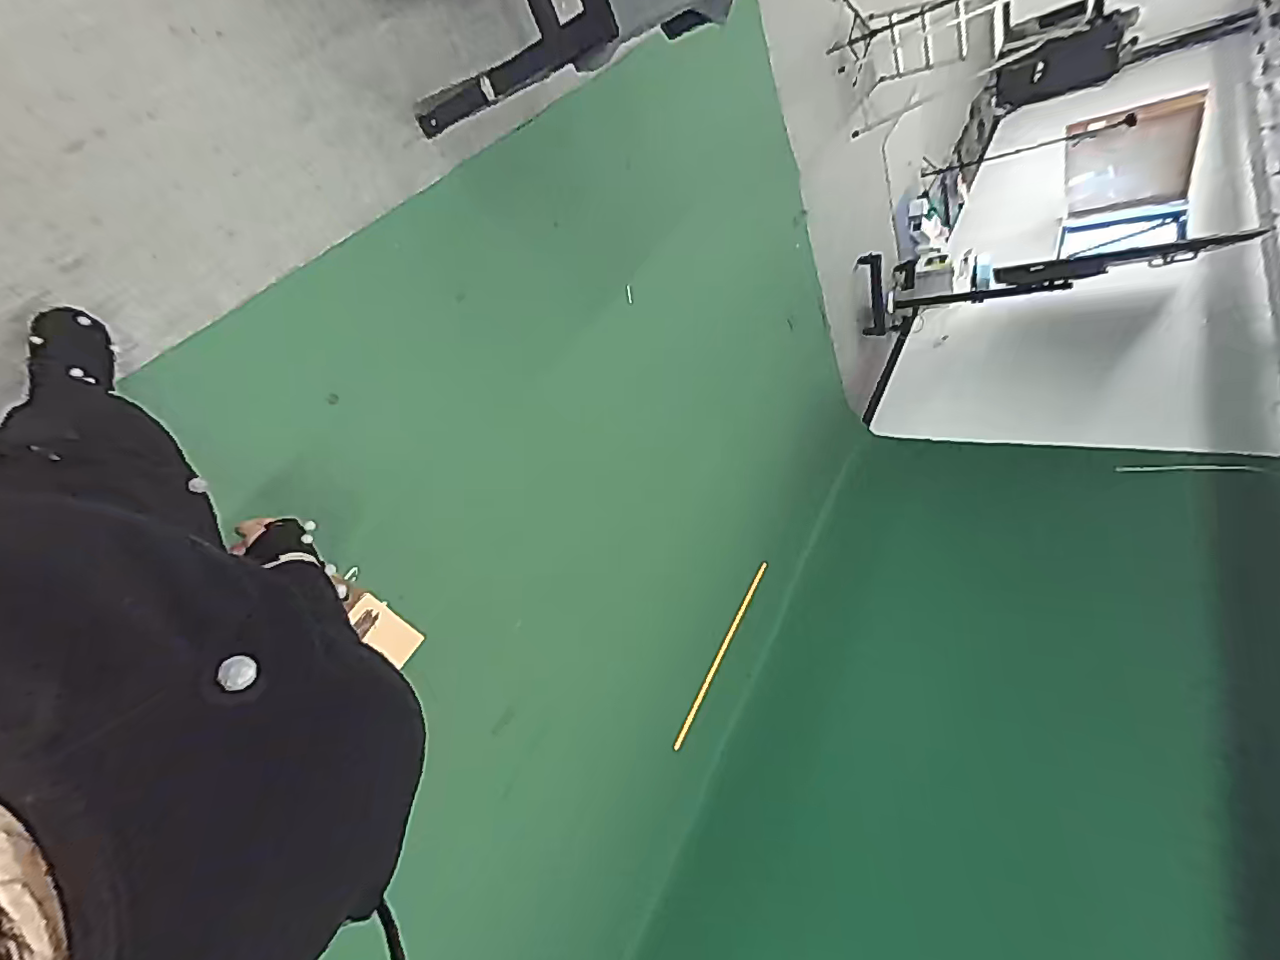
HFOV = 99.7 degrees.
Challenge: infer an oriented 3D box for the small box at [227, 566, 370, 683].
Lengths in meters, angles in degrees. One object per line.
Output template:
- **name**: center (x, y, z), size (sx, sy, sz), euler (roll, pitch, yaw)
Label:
- **small box**: center (-0.745, 0.308, 1.184), size (0.168, 0.176, 0.179), euler (-56, 135, -31)
